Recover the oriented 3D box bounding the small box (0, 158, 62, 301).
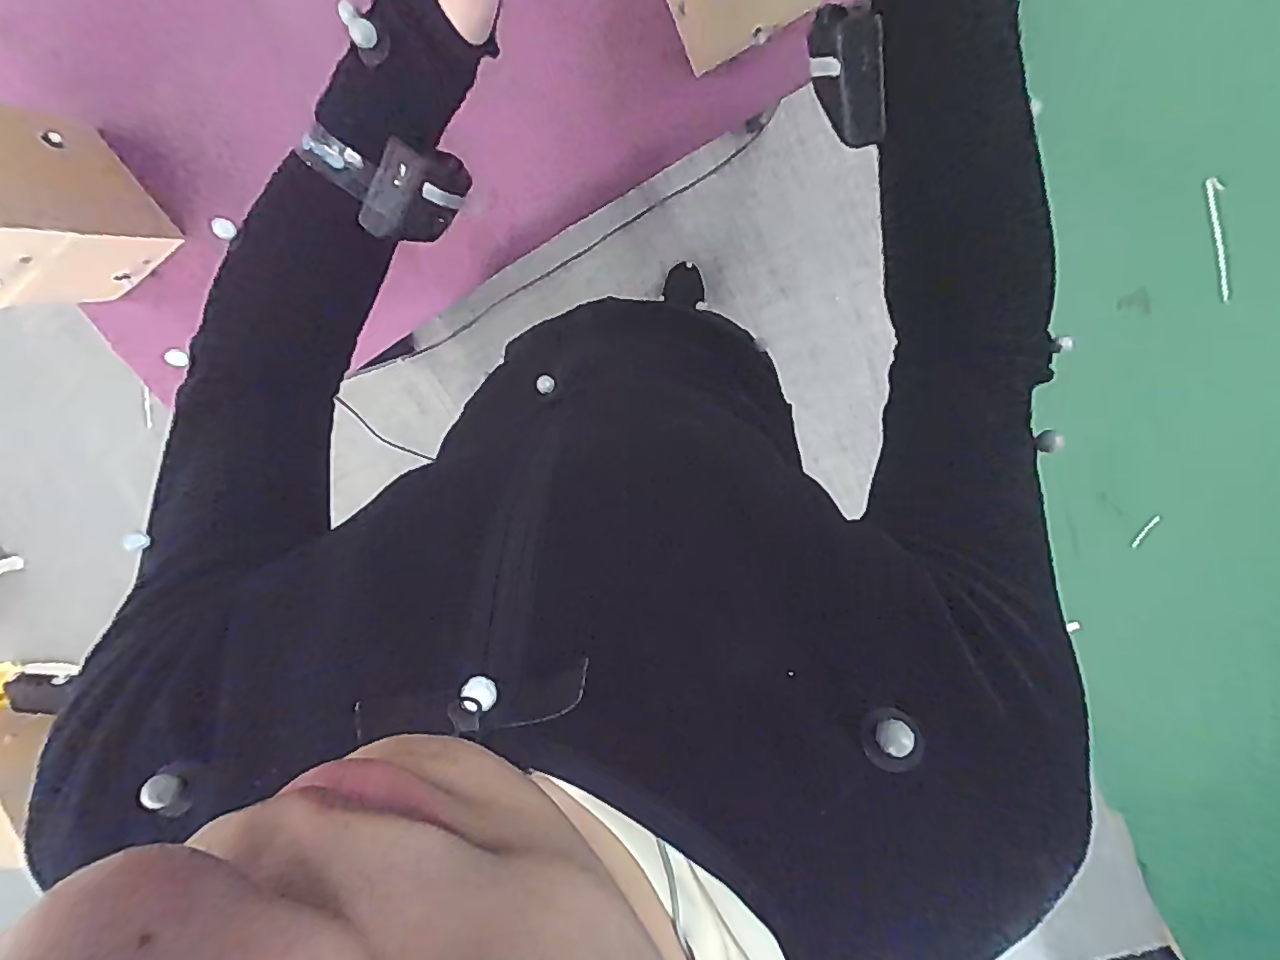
[{"bbox_3d":[-0.803,-0.297,0.568,0.168,0.176,0.179,-29,108,14],"label":"small box"}]

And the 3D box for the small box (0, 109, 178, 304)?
[{"bbox_3d":[-0.795,-0.356,0.721,0.168,0.176,0.179,-29,108,14],"label":"small box"}]
